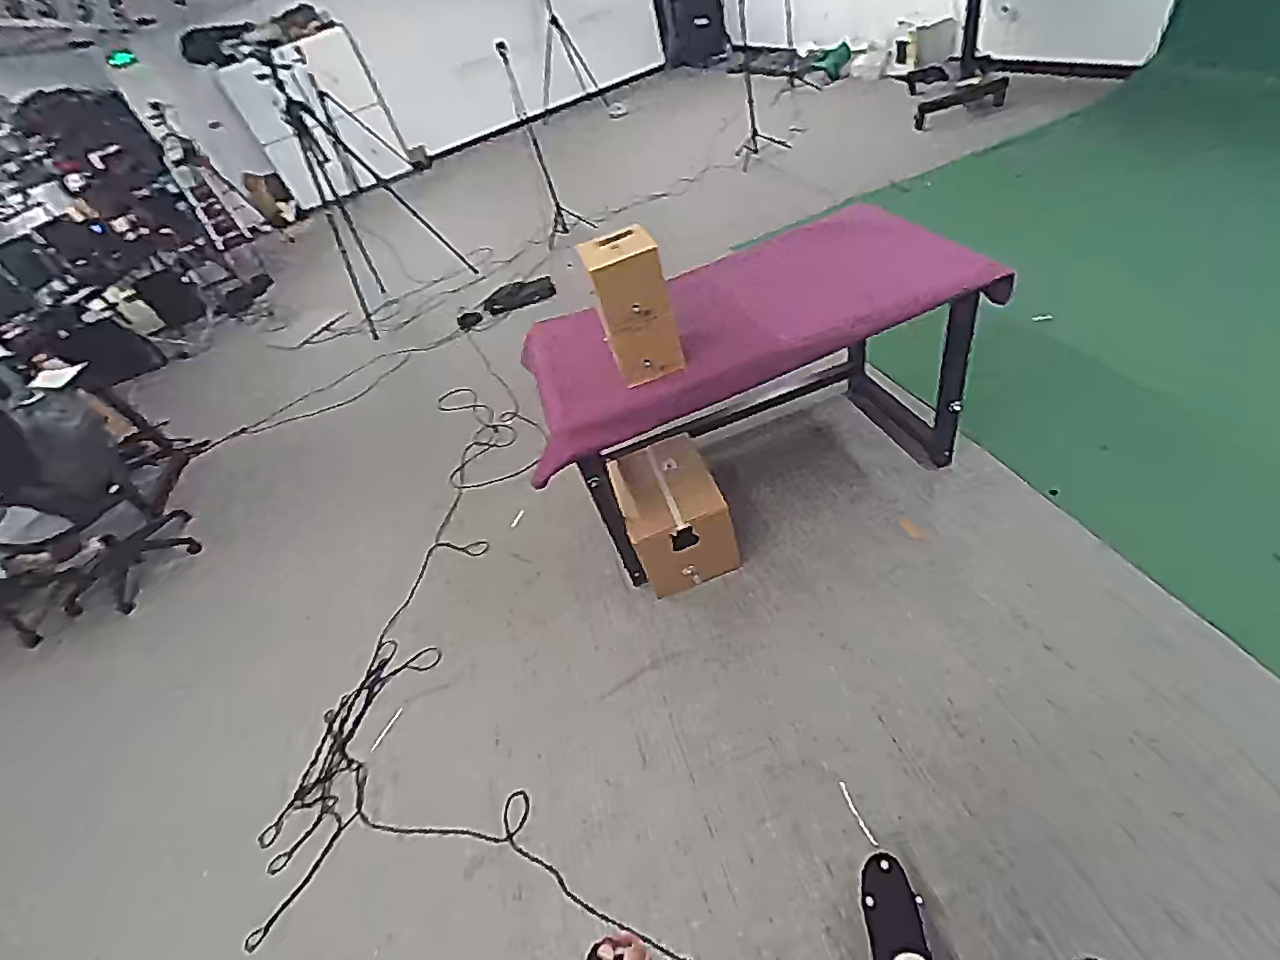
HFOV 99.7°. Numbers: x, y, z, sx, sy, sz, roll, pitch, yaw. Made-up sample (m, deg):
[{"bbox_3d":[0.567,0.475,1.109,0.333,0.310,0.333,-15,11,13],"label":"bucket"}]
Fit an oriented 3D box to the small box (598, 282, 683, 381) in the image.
[{"bbox_3d":[0.001,-0.391,1.433,0.168,0.176,0.179,-21,43,0],"label":"small box"}]
